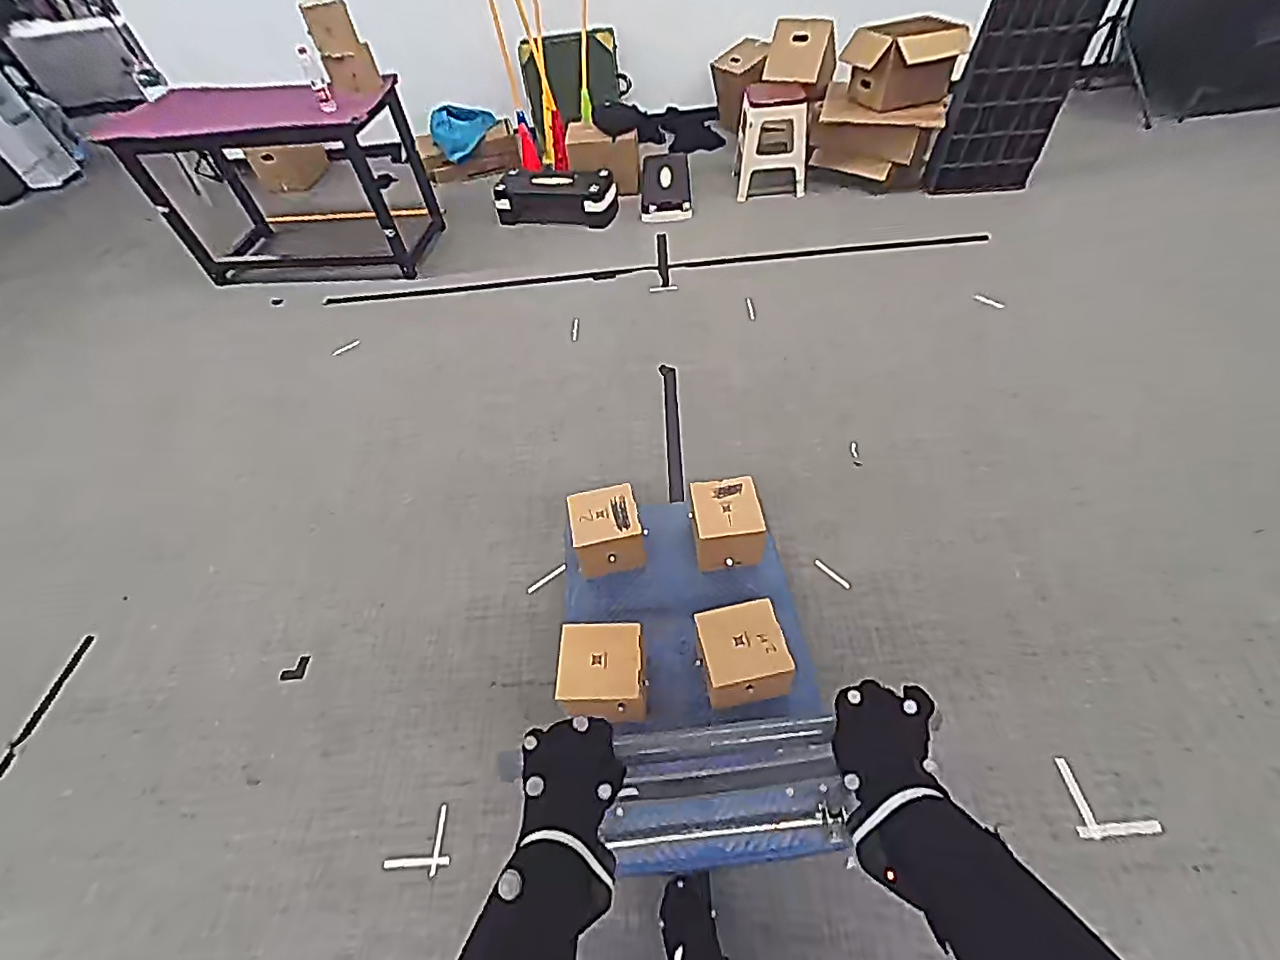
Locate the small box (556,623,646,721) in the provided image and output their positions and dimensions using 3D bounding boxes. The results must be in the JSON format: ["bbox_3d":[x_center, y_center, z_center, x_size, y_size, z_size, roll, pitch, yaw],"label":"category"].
[{"bbox_3d":[-0.080,0.436,1.218,0.179,0.176,0.168,-2,50,3],"label":"small box"}]

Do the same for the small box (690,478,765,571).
[{"bbox_3d":[0.224,0.120,1.436,0.168,0.176,0.179,-7,52,1],"label":"small box"}]

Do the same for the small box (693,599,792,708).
[{"bbox_3d":[0.224,0.394,1.215,0.179,0.176,0.168,-12,51,-2],"label":"small box"}]
